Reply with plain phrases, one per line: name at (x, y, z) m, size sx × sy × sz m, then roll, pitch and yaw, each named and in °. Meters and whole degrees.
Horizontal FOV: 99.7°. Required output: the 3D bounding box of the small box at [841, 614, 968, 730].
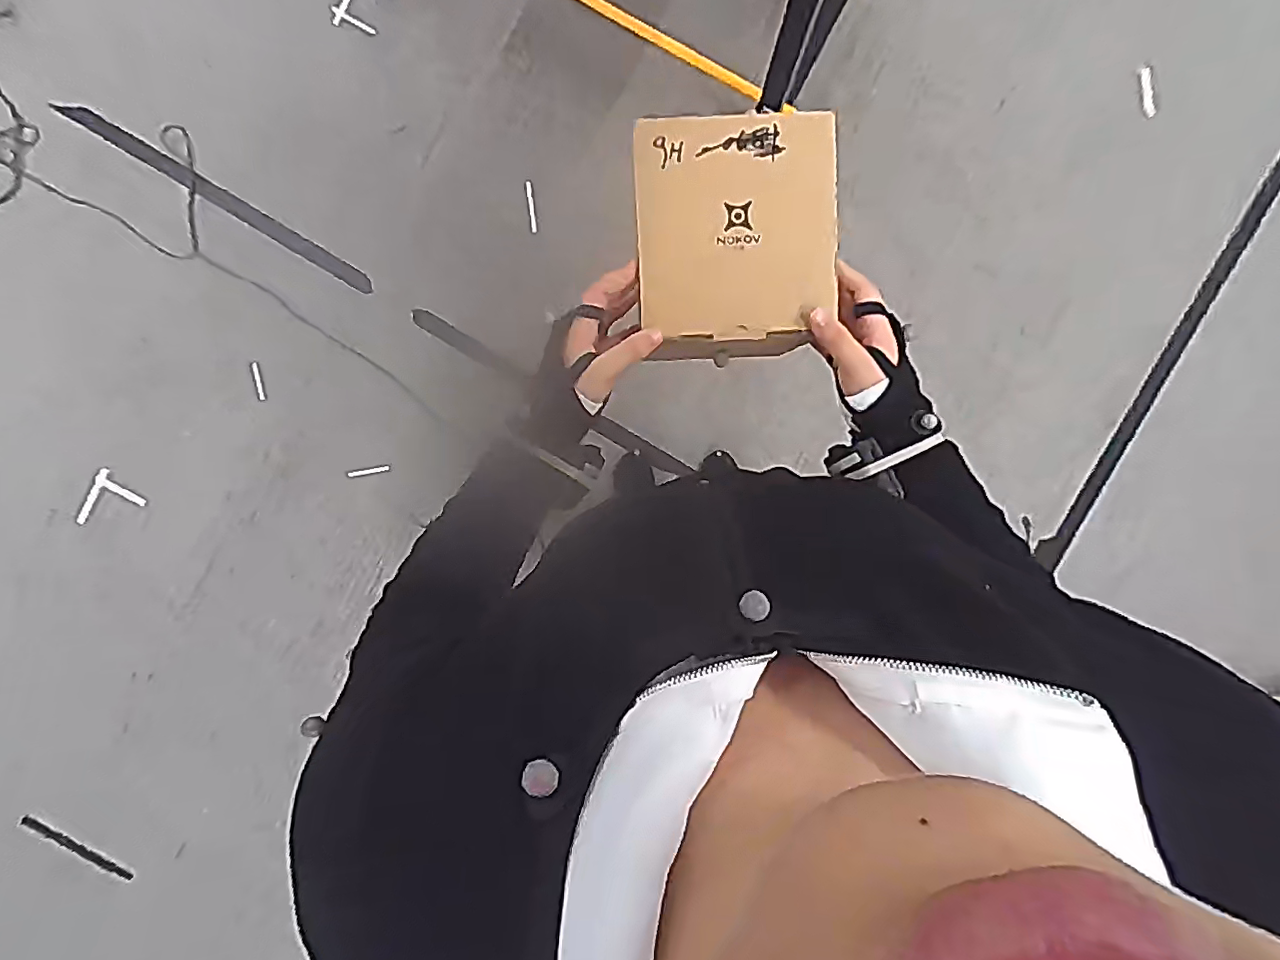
small box at (0.609, 0.438, 1.269) m, size 0.179 × 0.176 × 0.168 m, roll 31°, pitch 92°, yaw 1°

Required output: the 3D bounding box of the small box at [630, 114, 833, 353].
small box at (0.077, -0.219, 0.529) m, size 0.168 × 0.176 × 0.179 m, roll -3°, pitch 98°, yaw -1°
